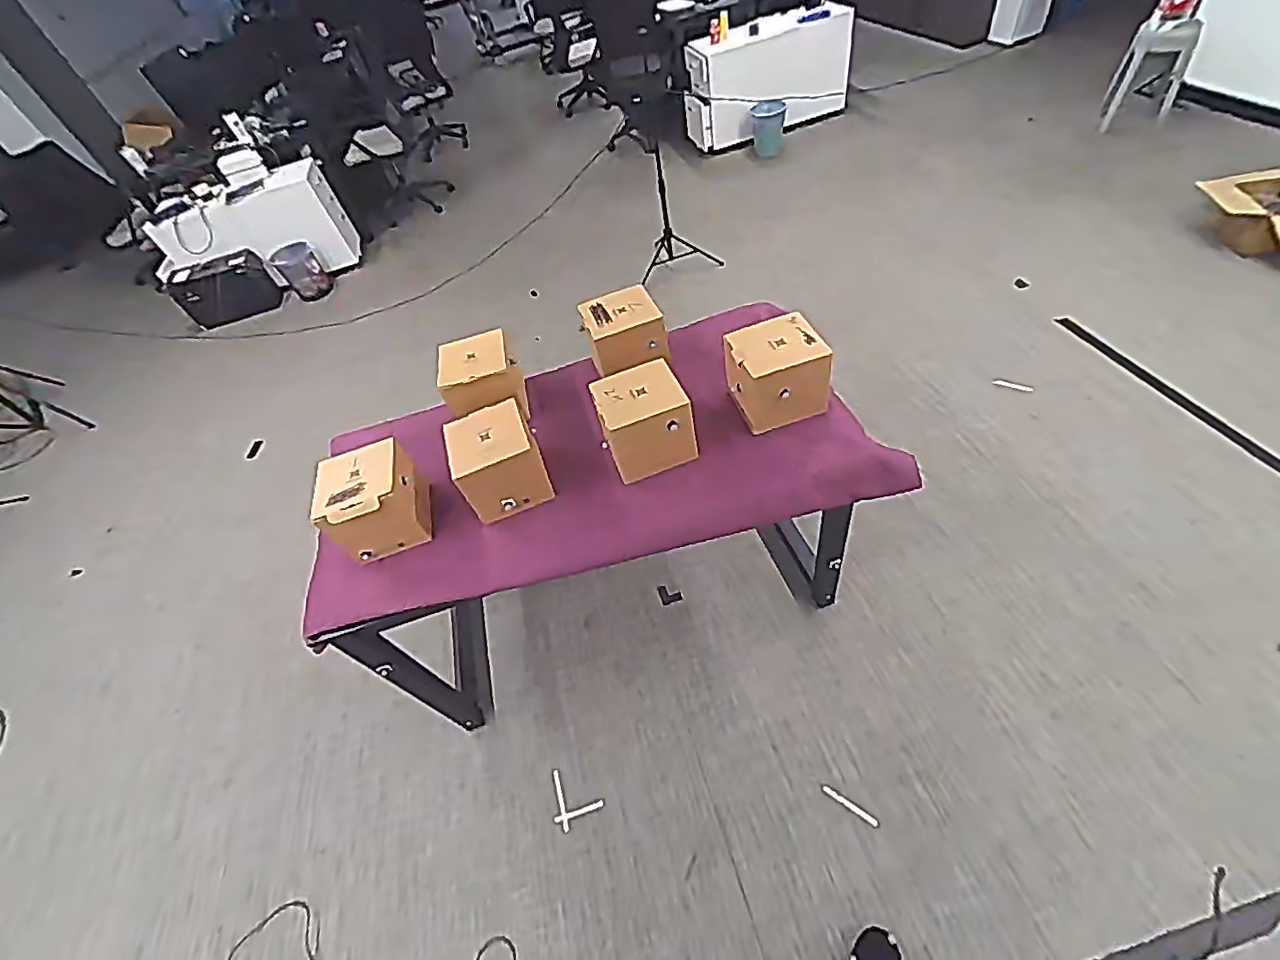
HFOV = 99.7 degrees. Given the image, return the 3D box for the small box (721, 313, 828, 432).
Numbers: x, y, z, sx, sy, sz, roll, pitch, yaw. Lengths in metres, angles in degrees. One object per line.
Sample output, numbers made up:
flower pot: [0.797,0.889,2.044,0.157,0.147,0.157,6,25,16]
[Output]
small box: [0.294,-0.231,1.191,0.179,0.176,0.168,-19,50,0]

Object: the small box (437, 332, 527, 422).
small box: [-0.392,-0.236,1.355,0.168,0.176,0.179,-17,50,-1]

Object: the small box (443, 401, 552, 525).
small box: [-0.308,-0.035,1.175,0.168,0.176,0.179,-23,50,-5]

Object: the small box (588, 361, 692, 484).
small box: [0.006,-0.123,1.171,0.179,0.176,0.168,-21,48,-4]

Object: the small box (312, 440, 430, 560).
small box: [-0.567,0.051,1.161,0.168,0.176,0.179,-20,48,-4]
